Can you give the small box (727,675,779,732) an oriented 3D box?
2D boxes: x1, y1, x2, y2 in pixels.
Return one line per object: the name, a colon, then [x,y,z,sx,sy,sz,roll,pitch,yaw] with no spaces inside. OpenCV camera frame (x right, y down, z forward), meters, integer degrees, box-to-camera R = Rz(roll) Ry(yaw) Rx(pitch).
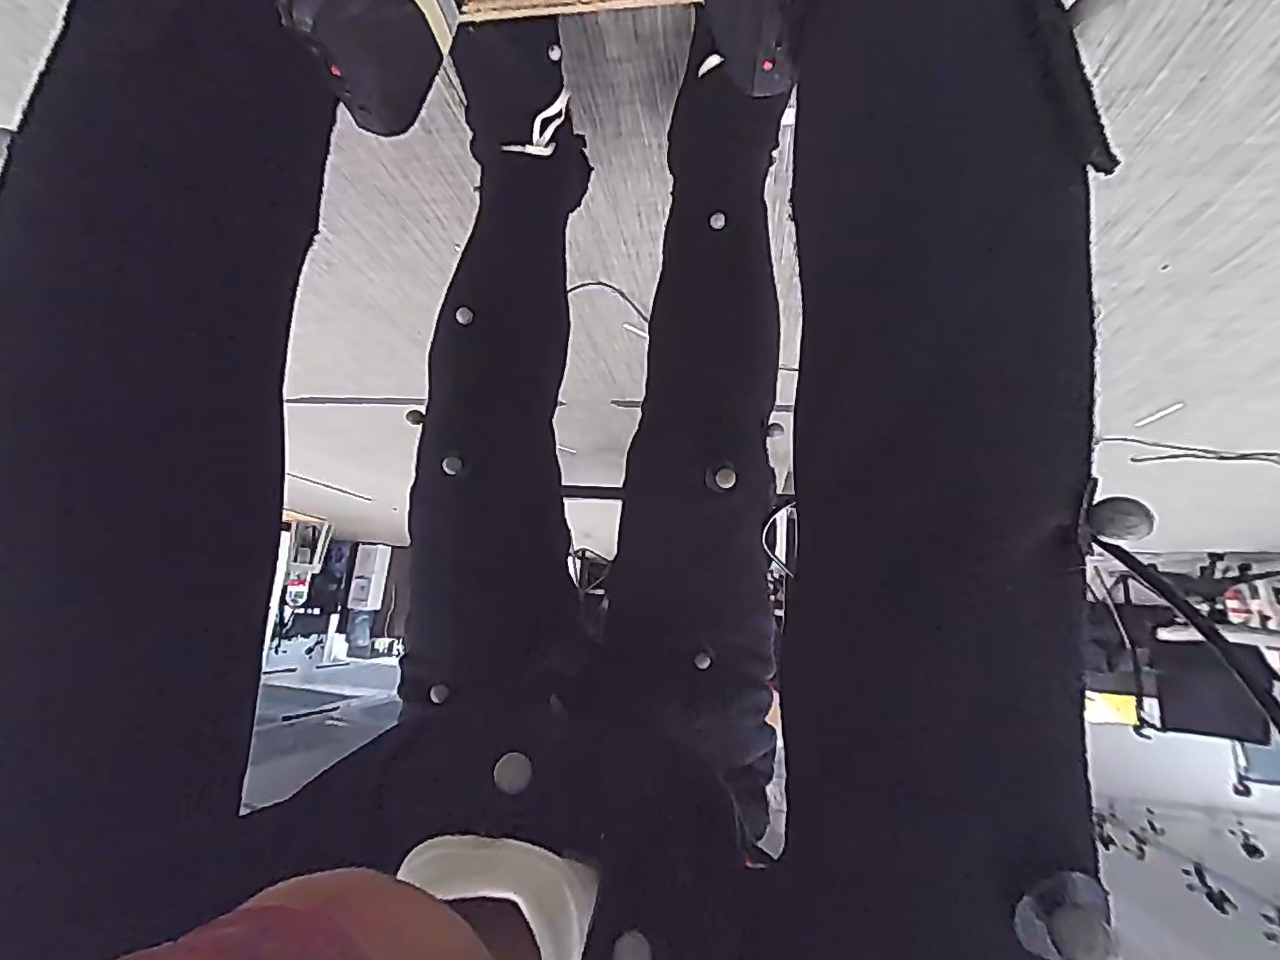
small box: [0.419,0.823,2.009,0.168,0.176,0.179,4,165,3]
